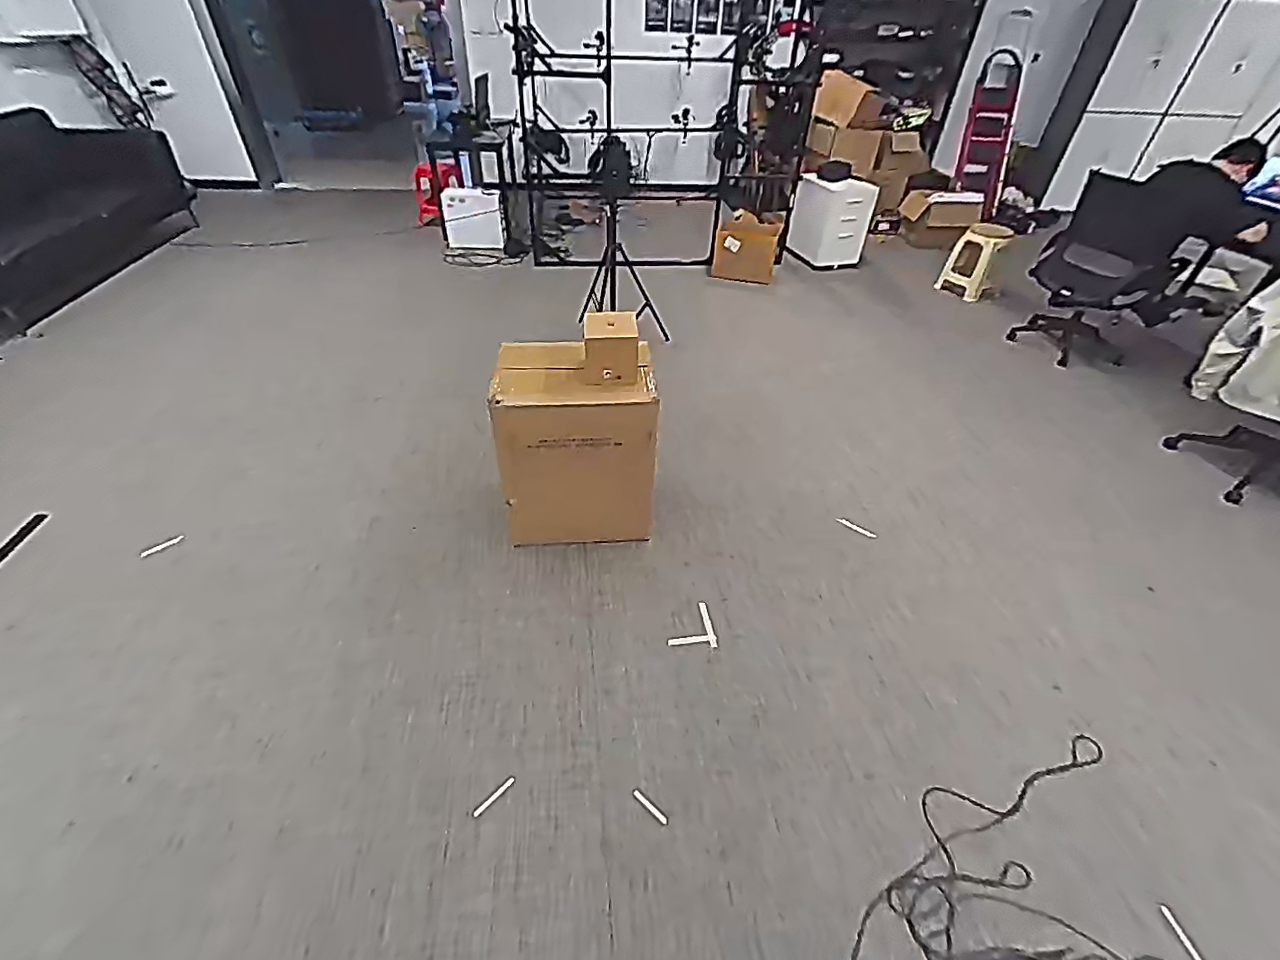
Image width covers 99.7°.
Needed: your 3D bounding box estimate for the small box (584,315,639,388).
[{"bbox_3d":[-0.094,-0.414,1.742,0.168,0.176,0.179,-4,43,-4],"label":"small box"}]
